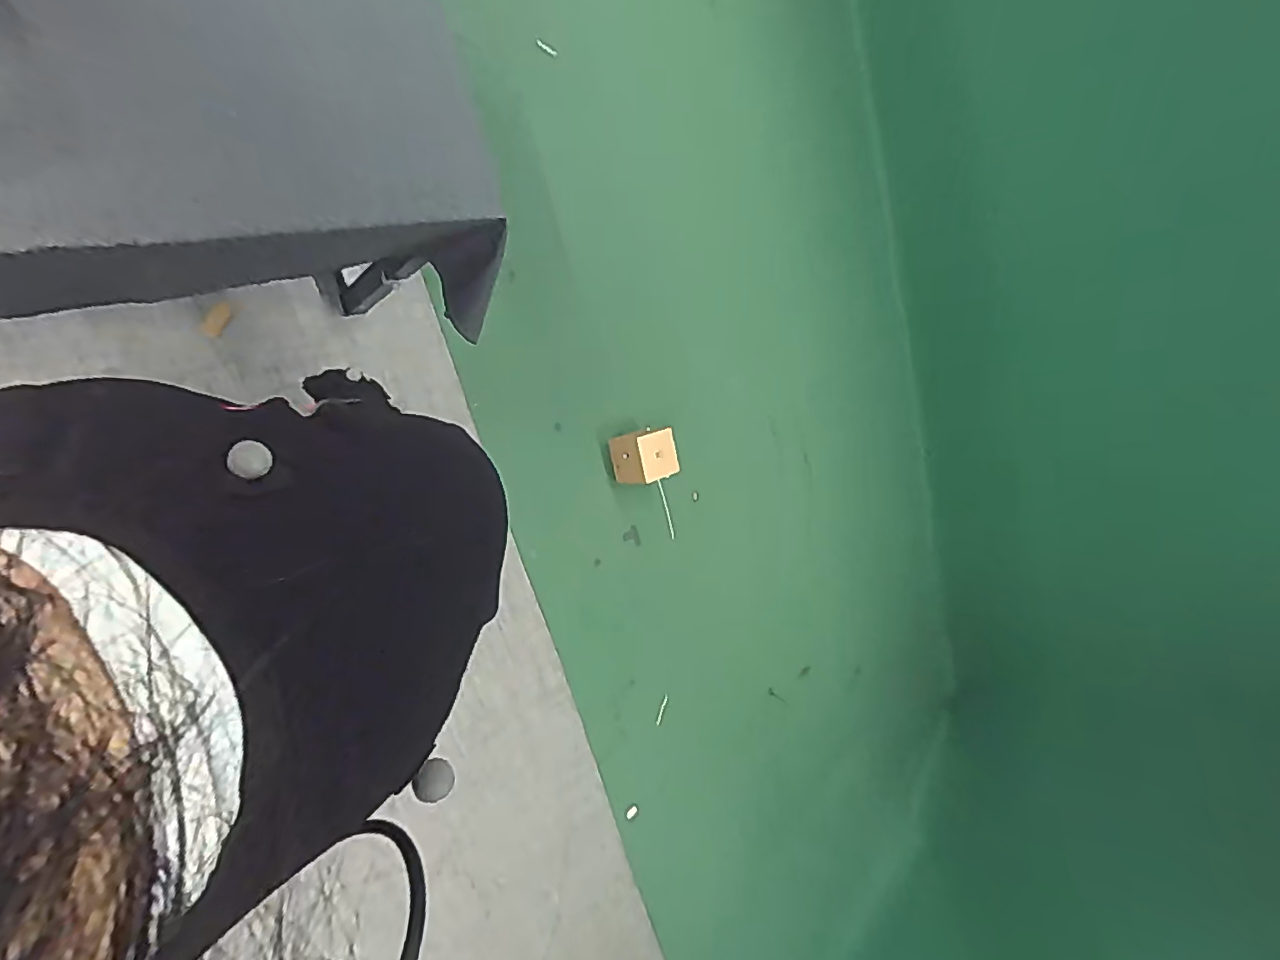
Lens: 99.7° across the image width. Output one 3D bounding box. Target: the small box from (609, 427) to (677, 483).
[{"bbox_3d":[0.004,-0.089,1.956,0.179,0.176,0.168,-21,104,-41],"label":"small box"}]
